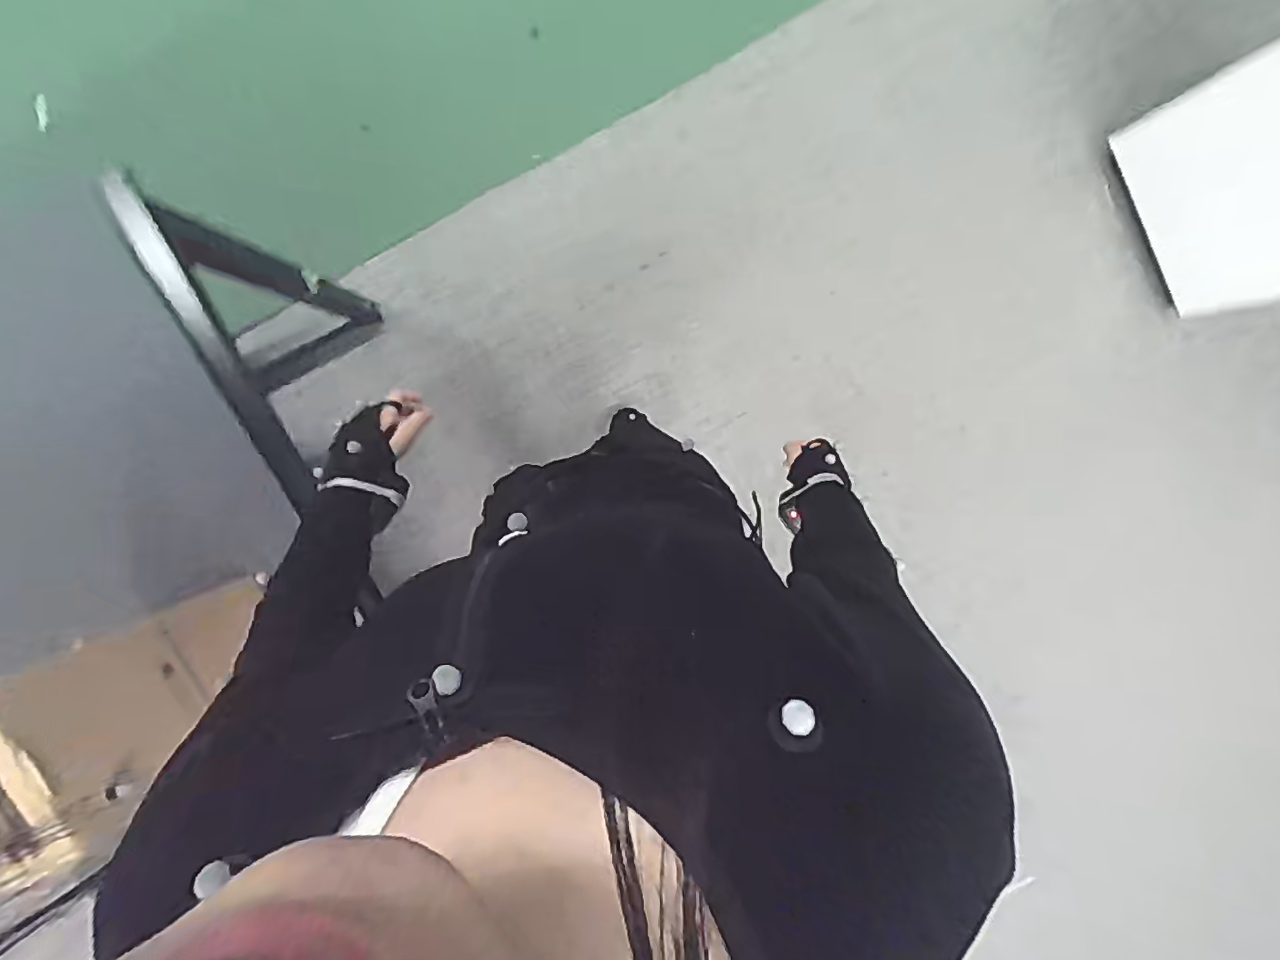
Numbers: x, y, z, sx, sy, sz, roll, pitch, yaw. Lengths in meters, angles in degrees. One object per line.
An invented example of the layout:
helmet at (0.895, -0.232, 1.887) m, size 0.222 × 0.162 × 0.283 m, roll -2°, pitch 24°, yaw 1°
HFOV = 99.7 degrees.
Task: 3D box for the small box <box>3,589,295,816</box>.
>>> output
small box at (-0.587, 0.261, 0.674) m, size 0.179 × 0.176 × 0.168 m, roll -26°, pitch 96°, yaw 1°
